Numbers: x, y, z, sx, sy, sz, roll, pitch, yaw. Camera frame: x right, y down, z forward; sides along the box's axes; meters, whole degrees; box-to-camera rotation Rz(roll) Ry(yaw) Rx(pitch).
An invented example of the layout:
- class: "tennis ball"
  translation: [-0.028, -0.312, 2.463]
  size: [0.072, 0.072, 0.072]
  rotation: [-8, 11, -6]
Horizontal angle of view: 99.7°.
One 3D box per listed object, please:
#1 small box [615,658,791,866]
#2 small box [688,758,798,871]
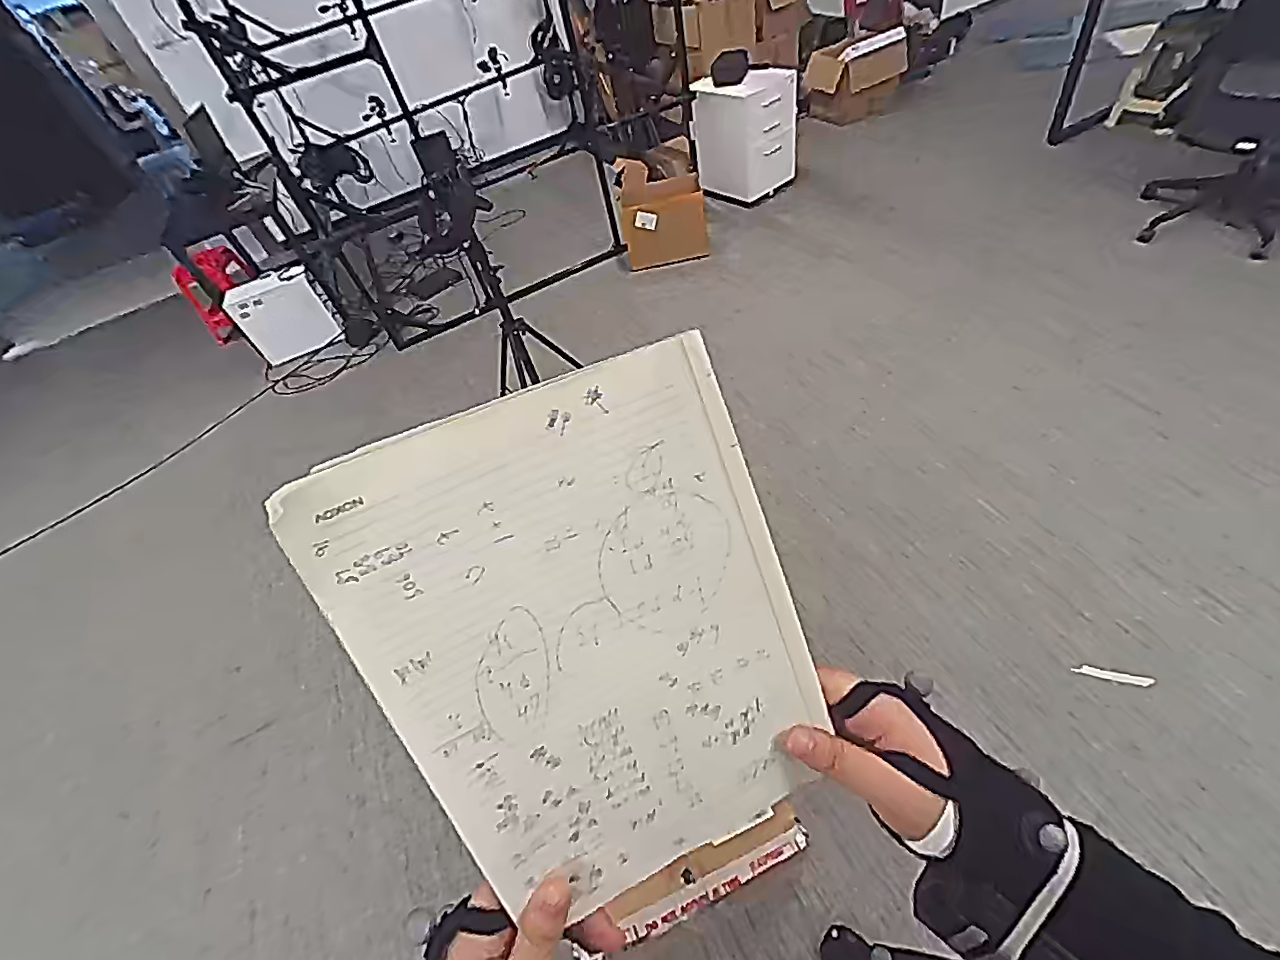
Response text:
- class: "small box"
  translation: [0.078, 0.373, 0.713]
  size: [0.168, 0.176, 0.179]
  rotation: [-20, 49, -7]
- class: "small box"
  translation: [0.121, 0.471, 0.840]
  size: [0.179, 0.176, 0.168]
  rotation: [-24, 49, -9]
